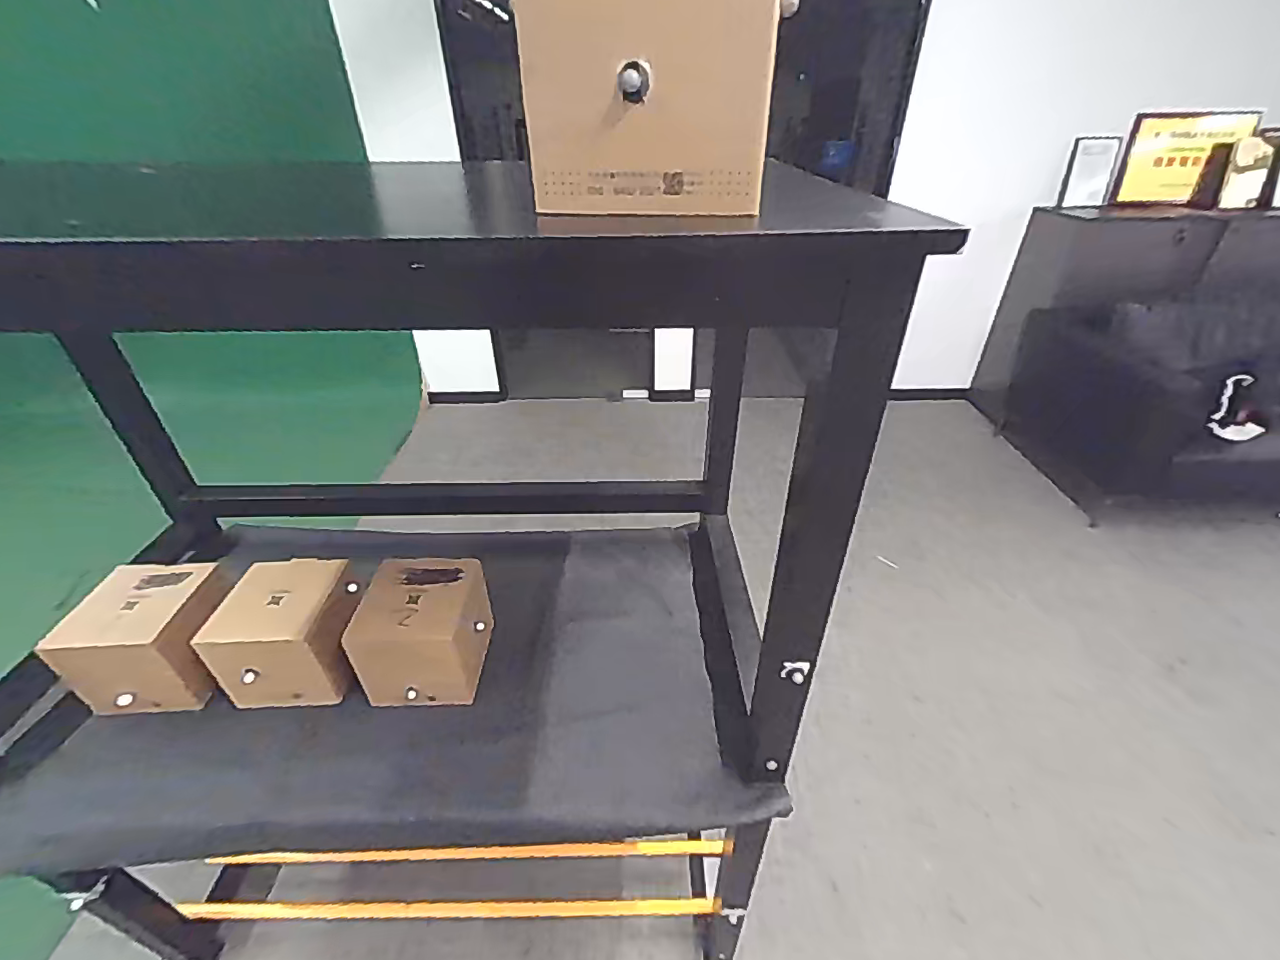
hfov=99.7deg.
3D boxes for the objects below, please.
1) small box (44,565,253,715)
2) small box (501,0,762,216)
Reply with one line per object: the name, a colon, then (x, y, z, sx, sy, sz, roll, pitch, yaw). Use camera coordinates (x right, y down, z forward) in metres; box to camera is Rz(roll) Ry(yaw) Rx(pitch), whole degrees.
small box: (-0.790, 0.263, 0.901, 0.168, 0.176, 0.179, -2, 34, -2)
small box: (0.007, -0.308, 0.421, 0.168, 0.176, 0.179, 5, 34, 8)
